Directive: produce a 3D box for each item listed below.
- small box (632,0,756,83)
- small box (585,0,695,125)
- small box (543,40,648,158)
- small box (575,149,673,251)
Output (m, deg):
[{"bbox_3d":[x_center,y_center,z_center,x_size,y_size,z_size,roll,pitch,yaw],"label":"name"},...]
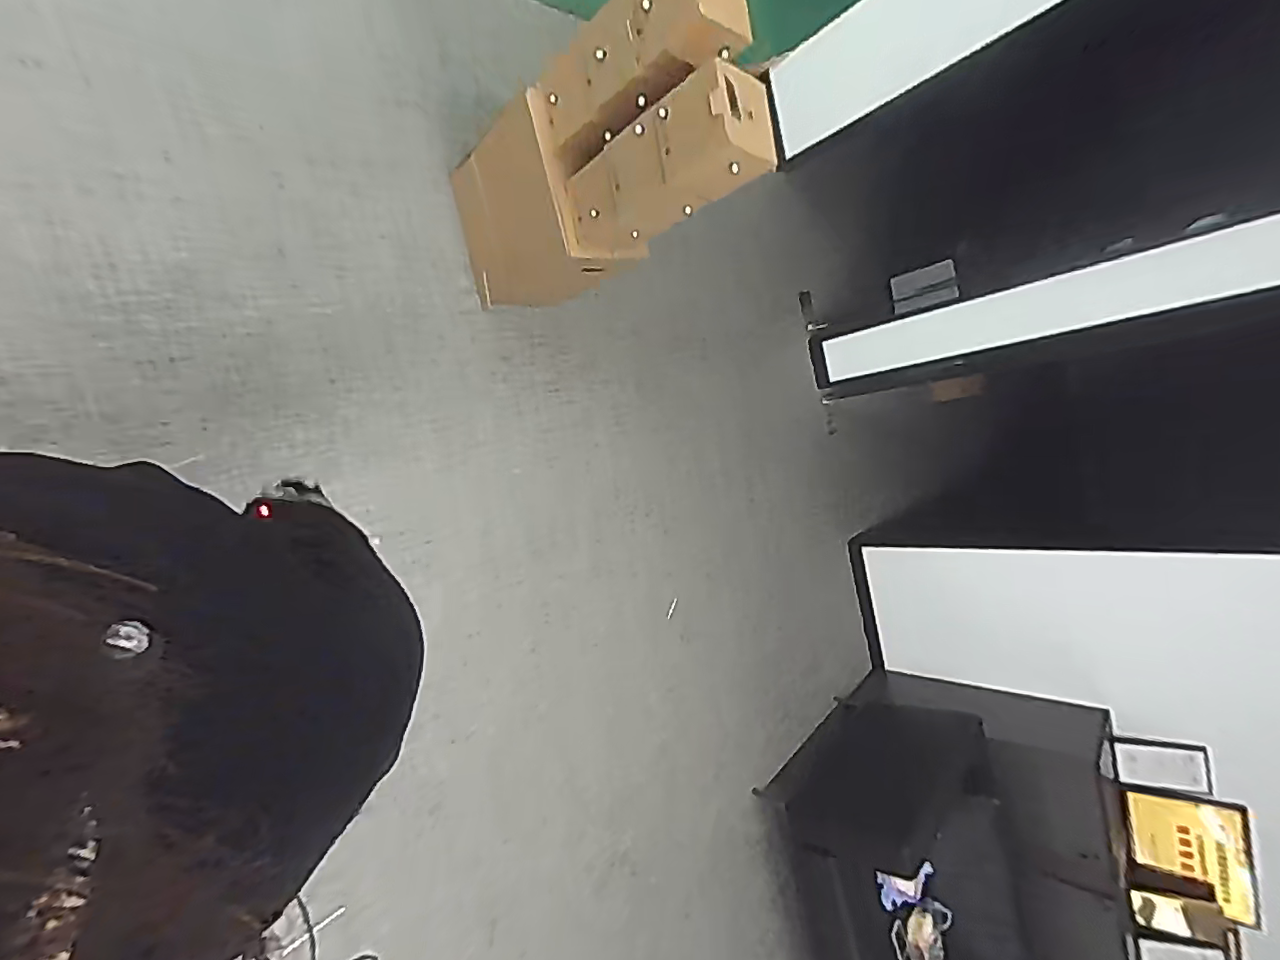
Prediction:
[{"bbox_3d":[0.106,-0.944,1.089,0.179,0.176,0.168,-18,99,-41],"label":"small box"},{"bbox_3d":[-0.006,-0.933,1.211,0.179,0.176,0.168,-18,99,-40],"label":"small box"},{"bbox_3d":[-0.111,-0.926,1.336,0.179,0.176,0.168,-19,100,-40],"label":"small box"},{"bbox_3d":[-0.047,-0.700,1.373,0.179,0.176,0.168,-16,96,-42],"label":"small box"}]
